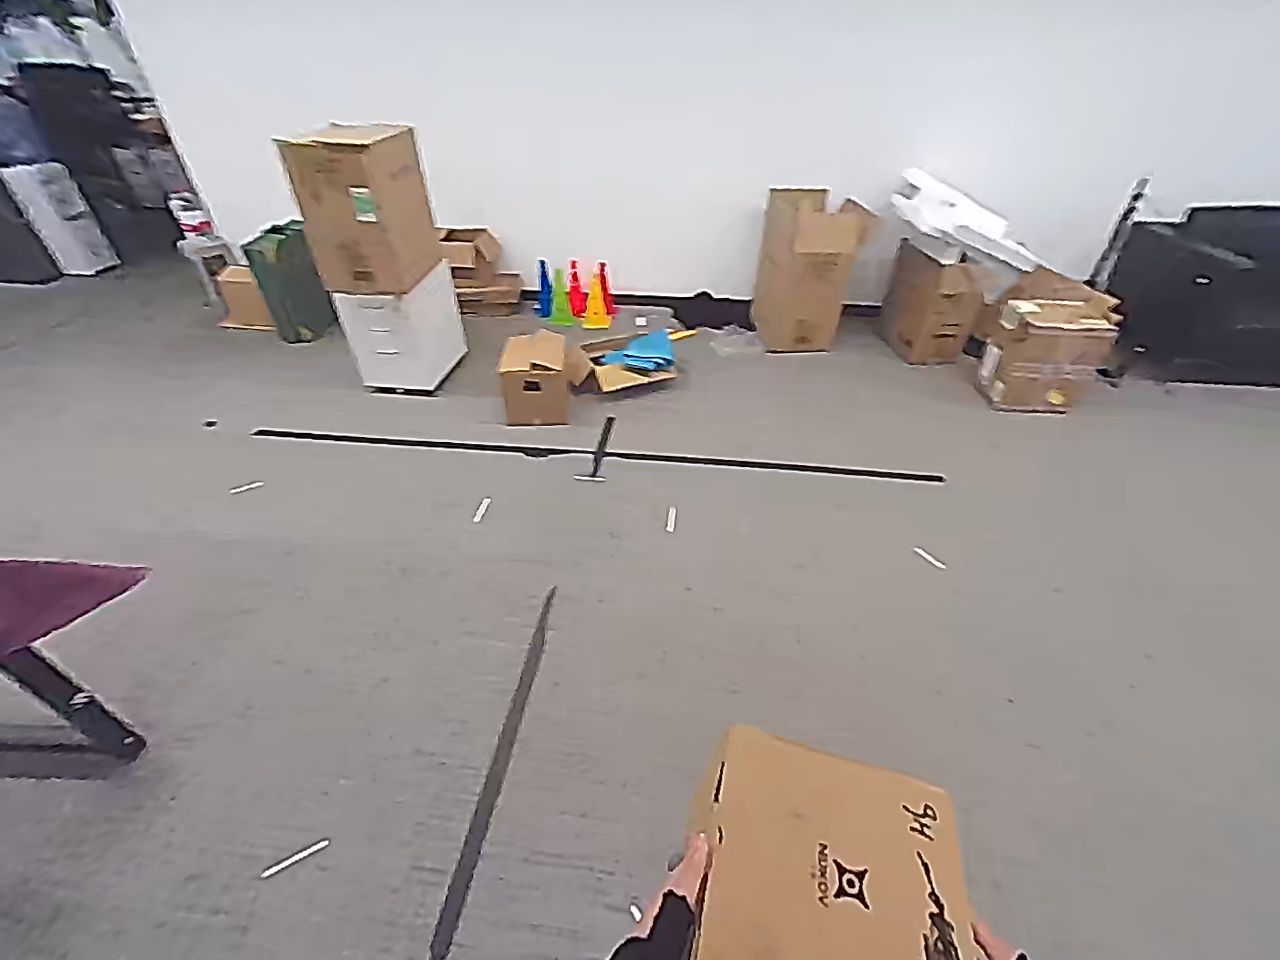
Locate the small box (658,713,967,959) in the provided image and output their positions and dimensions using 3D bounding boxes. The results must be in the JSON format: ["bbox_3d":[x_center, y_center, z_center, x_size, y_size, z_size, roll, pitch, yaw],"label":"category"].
[{"bbox_3d":[0.117,0.317,0.416,0.179,0.176,0.168,13,40,7],"label":"small box"}]
